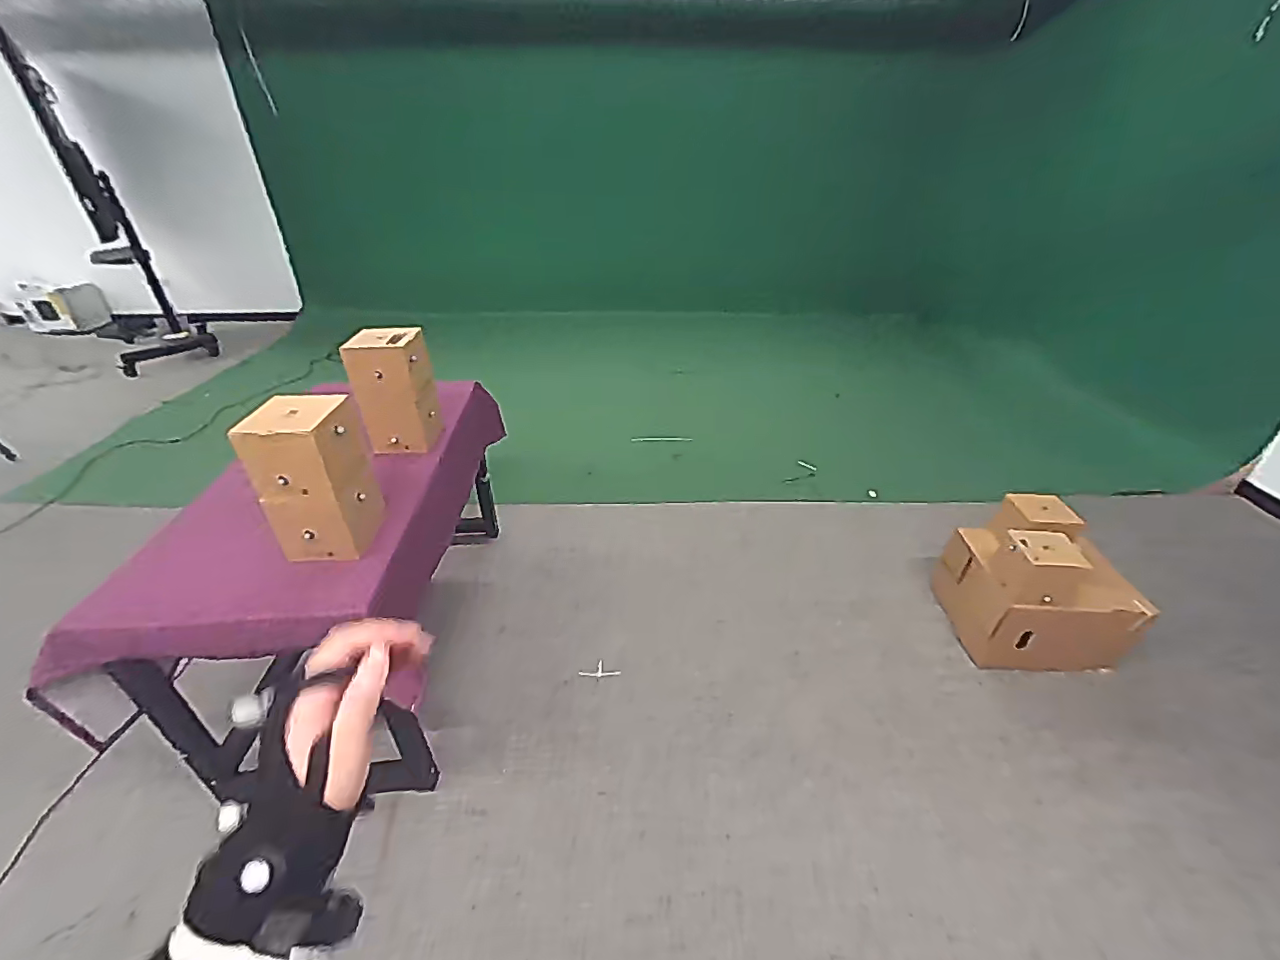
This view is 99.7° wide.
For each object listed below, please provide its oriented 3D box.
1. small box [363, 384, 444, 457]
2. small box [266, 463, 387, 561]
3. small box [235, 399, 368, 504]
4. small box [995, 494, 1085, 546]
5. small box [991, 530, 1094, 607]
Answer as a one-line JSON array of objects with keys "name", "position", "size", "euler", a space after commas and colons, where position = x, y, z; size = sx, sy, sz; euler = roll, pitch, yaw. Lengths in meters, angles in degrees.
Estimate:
[{"name": "small box", "position": [-0.720, -0.185, 1.671], "size": [0.168, 0.176, 0.179], "euler": [-1, 34, 0]}, {"name": "small box", "position": [-0.715, 0.076, 1.261], "size": [0.168, 0.176, 0.179], "euler": [-1, 33, 0]}, {"name": "small box", "position": [-0.719, -0.064, 1.176], "size": [0.168, 0.176, 0.179], "euler": [-1, 34, 0]}, {"name": "small box", "position": [1.369, 0.166, 1.873], "size": [0.179, 0.176, 0.168], "euler": [3, 32, 1]}, {"name": "small box", "position": [1.248, 0.277, 1.691], "size": [0.179, 0.176, 0.168], "euler": [4, 33, 4]}]
